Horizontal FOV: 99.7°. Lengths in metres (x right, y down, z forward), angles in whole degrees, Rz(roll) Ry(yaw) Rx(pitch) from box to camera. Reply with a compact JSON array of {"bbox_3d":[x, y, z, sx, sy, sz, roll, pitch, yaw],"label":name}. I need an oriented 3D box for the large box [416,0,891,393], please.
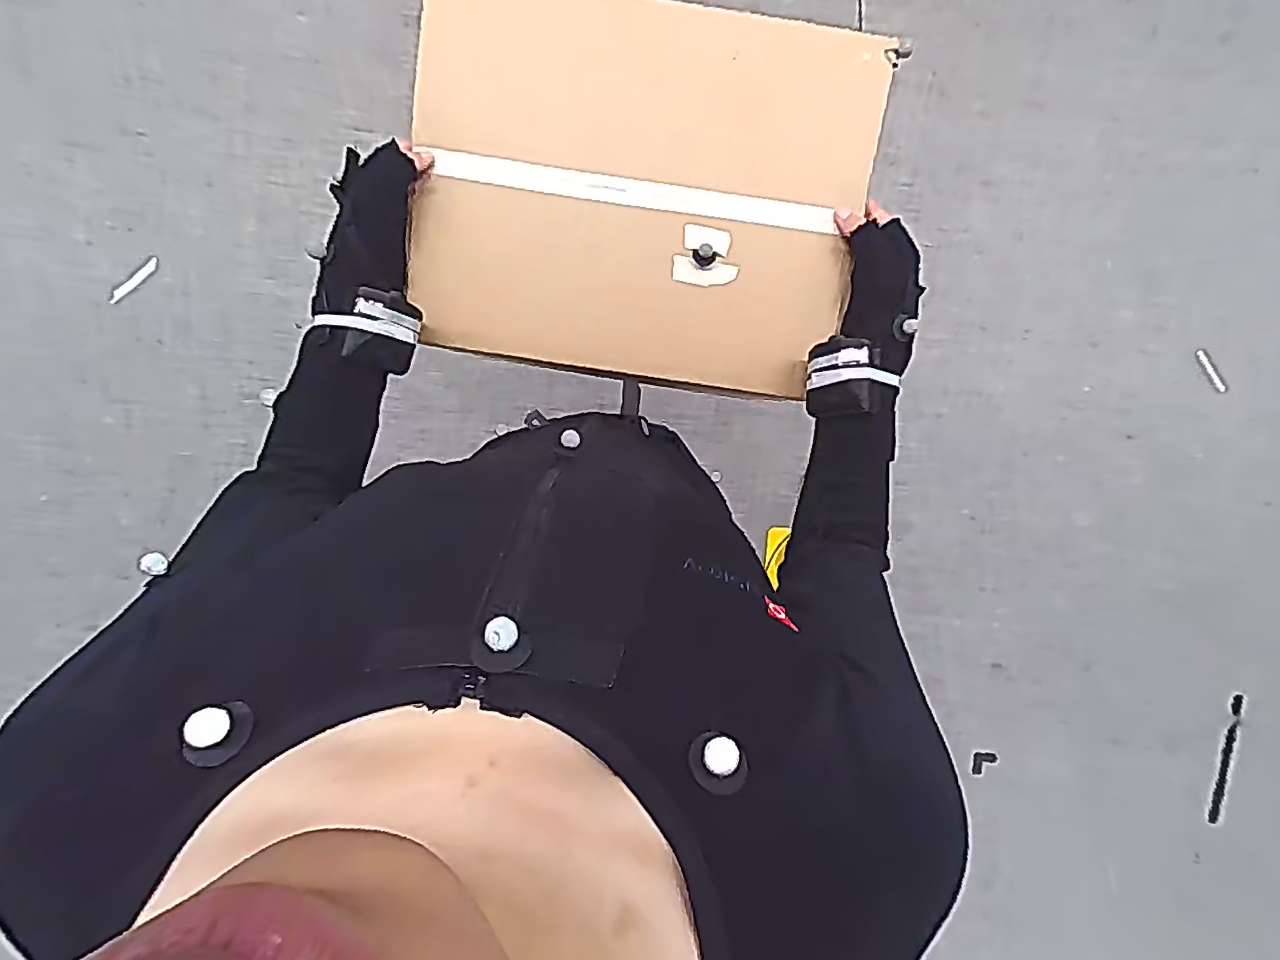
[{"bbox_3d":[0.002,-0.282,0.635,0.408,0.320,0.320,8,99,-2],"label":"large box"}]
